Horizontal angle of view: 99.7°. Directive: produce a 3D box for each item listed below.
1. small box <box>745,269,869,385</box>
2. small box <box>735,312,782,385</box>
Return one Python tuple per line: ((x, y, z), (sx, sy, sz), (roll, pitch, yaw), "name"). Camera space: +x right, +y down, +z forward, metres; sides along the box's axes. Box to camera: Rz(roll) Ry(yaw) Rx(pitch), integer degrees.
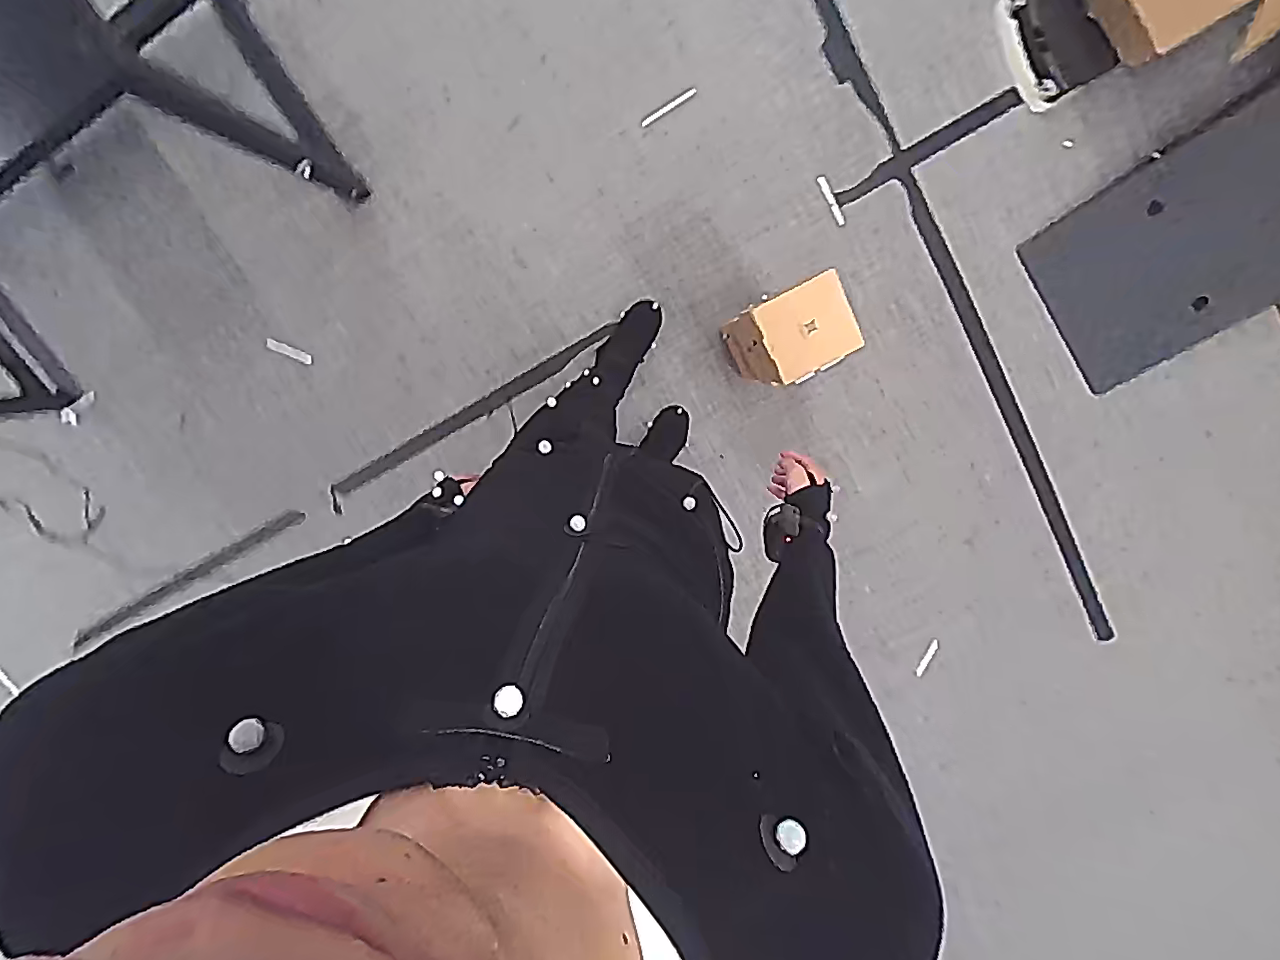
((0.337, -0.317, 1.126), (0.179, 0.176, 0.168), (-26, 102, 9), "small box")
((0.341, -0.345, 1.287), (0.168, 0.176, 0.179), (-28, 103, 8), "small box")
